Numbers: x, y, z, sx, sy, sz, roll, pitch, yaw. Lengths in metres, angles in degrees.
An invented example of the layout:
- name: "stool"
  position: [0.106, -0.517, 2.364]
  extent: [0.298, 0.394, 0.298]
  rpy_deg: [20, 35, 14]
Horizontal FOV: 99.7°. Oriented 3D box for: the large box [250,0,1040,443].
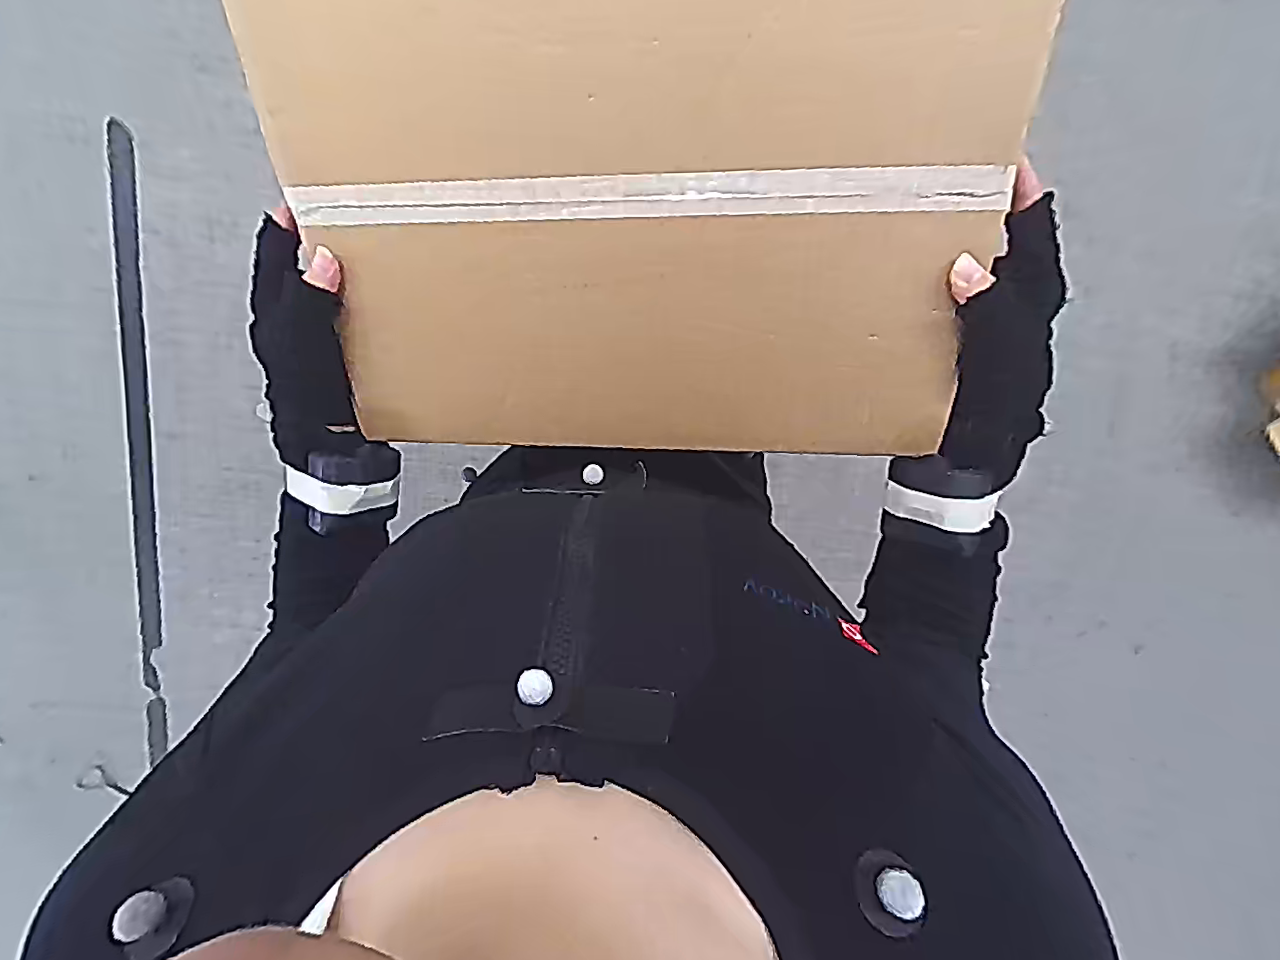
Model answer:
- name: "large box"
  position: [0.008, -0.235, 0.444]
  extent: [0.408, 0.320, 0.320]
  rpy_deg: [1, 122, 6]
